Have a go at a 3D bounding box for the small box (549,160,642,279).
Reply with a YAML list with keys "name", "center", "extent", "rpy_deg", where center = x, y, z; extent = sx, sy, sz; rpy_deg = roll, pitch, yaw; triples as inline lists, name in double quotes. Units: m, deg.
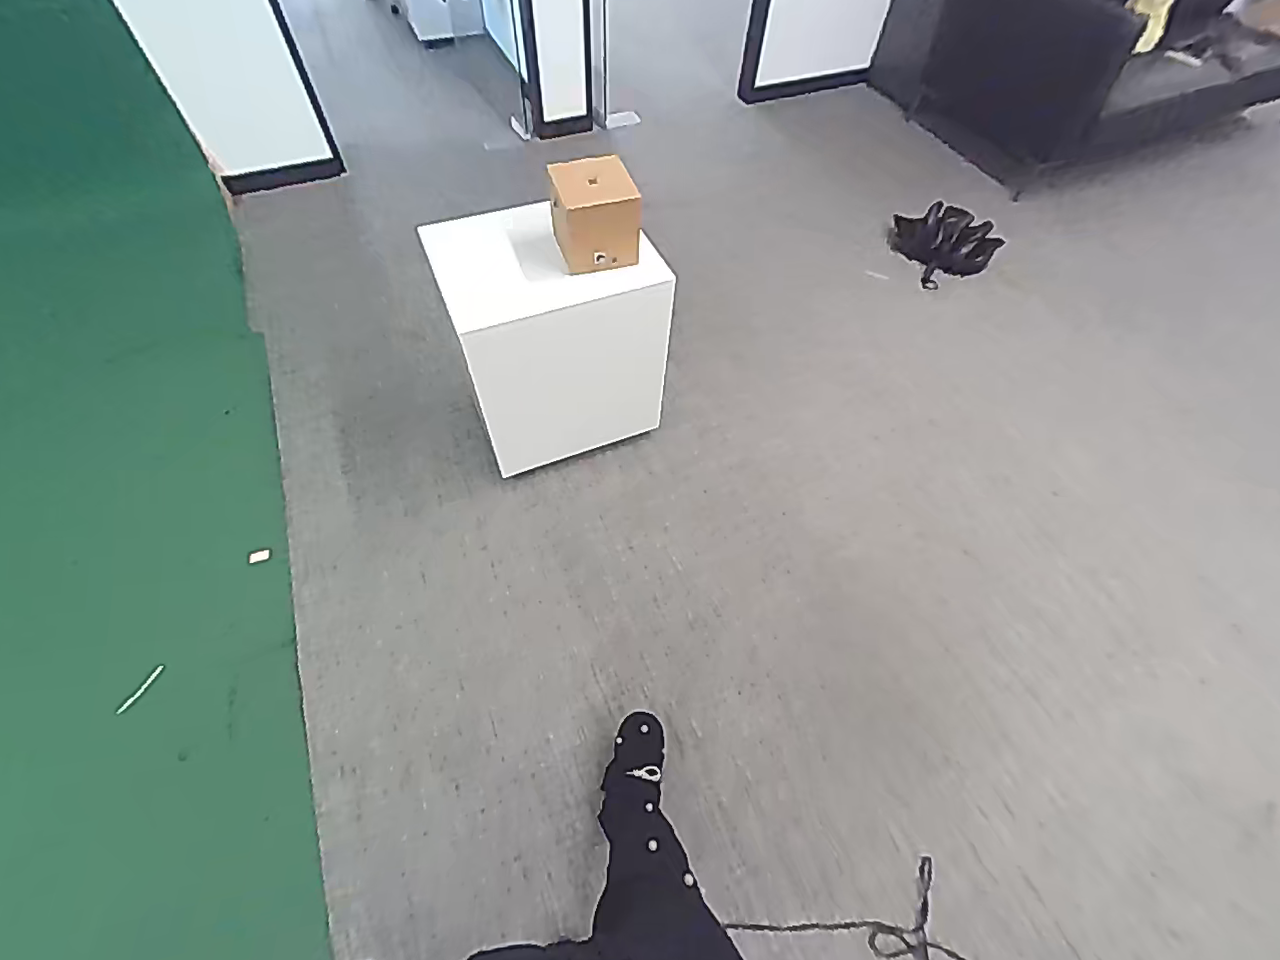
- name: "small box"
  center: [-0.101, -0.589, 1.228]
  extent: [0.168, 0.176, 0.179]
  rpy_deg: [-16, 60, -11]
